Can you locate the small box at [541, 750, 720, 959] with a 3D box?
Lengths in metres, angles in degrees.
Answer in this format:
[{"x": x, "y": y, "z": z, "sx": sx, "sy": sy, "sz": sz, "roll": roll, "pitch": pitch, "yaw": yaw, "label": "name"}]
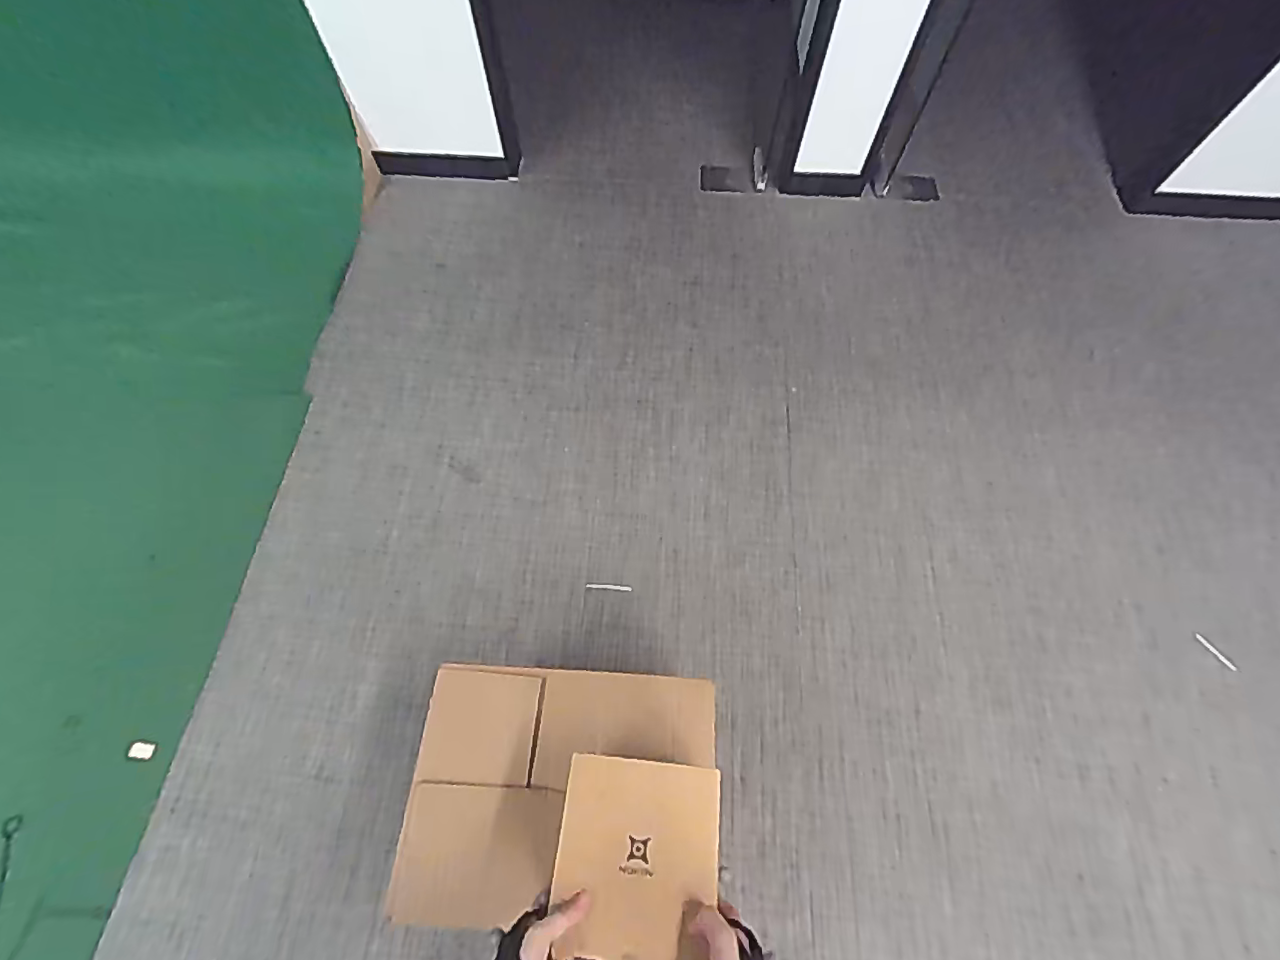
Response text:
[{"x": -0.005, "y": 0.424, "z": 0.616, "sx": 0.168, "sy": 0.176, "sz": 0.179, "roll": 6, "pitch": 58, "yaw": 4, "label": "small box"}]
